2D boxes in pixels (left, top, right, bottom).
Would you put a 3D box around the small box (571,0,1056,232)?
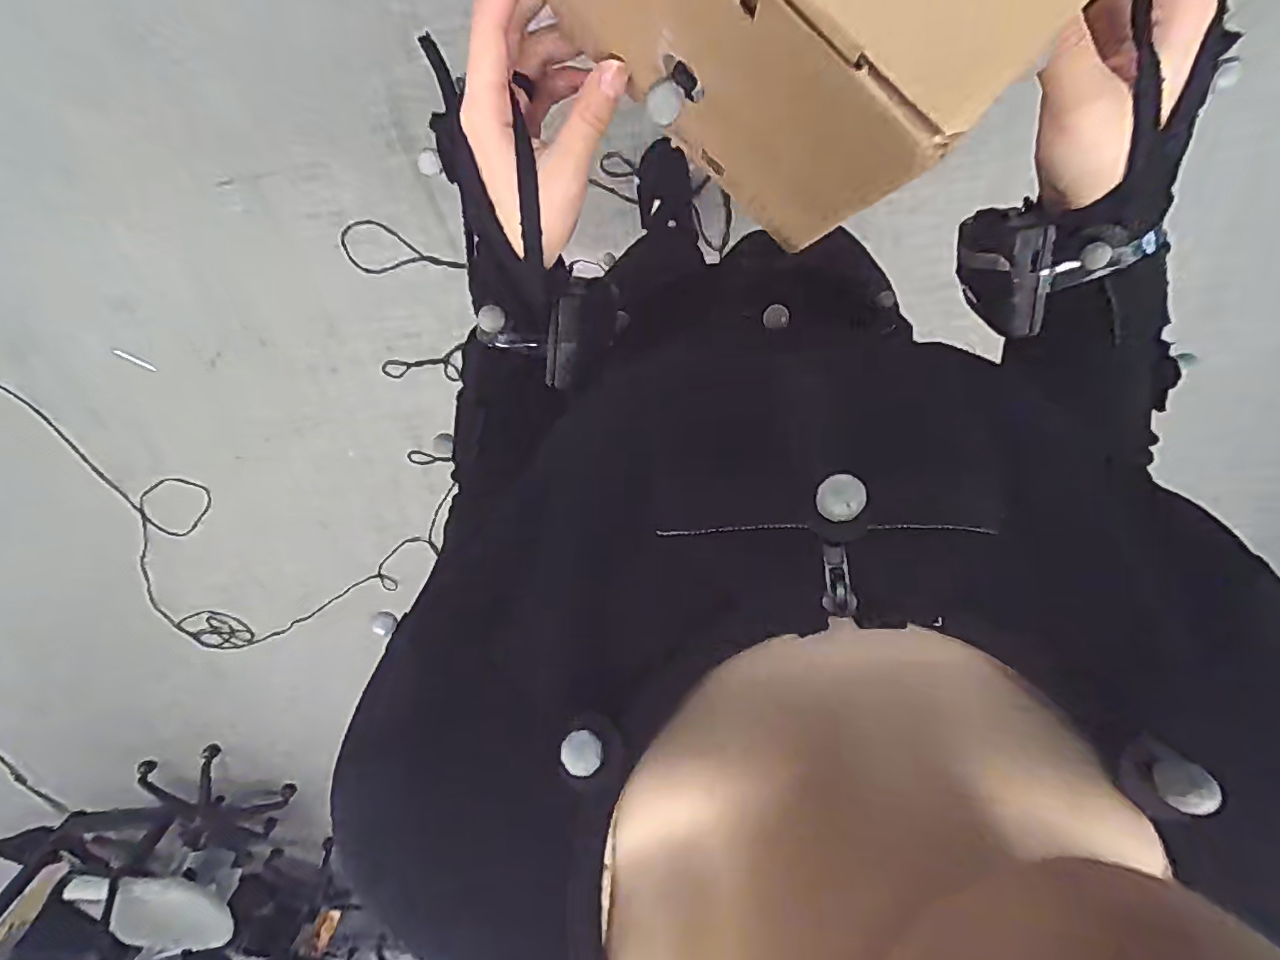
[{"bbox_3d":[0.072,-0.218,0.190,0.168,0.176,0.179,40,105,-7],"label":"small box"}]
